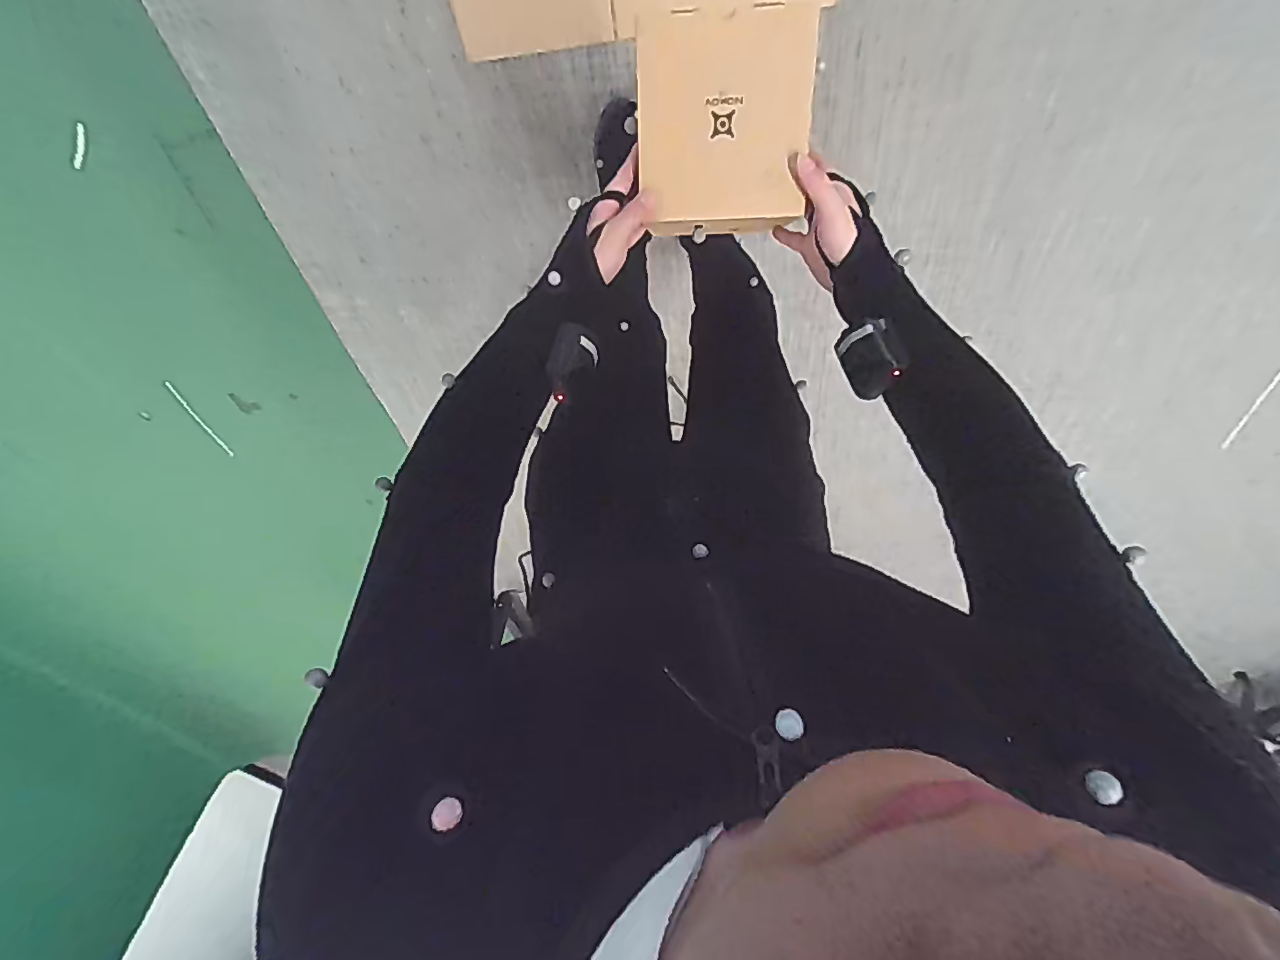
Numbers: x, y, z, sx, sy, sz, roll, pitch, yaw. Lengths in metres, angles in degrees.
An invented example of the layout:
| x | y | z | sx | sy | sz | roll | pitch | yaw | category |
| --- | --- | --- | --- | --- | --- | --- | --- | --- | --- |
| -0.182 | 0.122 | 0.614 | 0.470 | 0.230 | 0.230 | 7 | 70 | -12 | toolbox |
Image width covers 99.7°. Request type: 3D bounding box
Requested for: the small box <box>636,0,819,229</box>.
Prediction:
| x | y | z | sx | sy | sz | roll | pitch | yaw | category |
| --- | --- | --- | --- | --- | --- | --- | --- | --- | --- |
| 0.089 | -0.373 | 0.584 | 0.168 | 0.176 | 0.179 | 1 | 109 | 8 | small box |

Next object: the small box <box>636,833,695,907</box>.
| x | y | z | sx | sy | sz | roll | pitch | yaw | category |
| --- | --- | --- | --- | --- | --- | --- | --- | --- | --- |
| 0.086 | 1.258 | 1.746 | 0.168 | 0.176 | 0.179 | -5 | 135 | 11 | small box |
